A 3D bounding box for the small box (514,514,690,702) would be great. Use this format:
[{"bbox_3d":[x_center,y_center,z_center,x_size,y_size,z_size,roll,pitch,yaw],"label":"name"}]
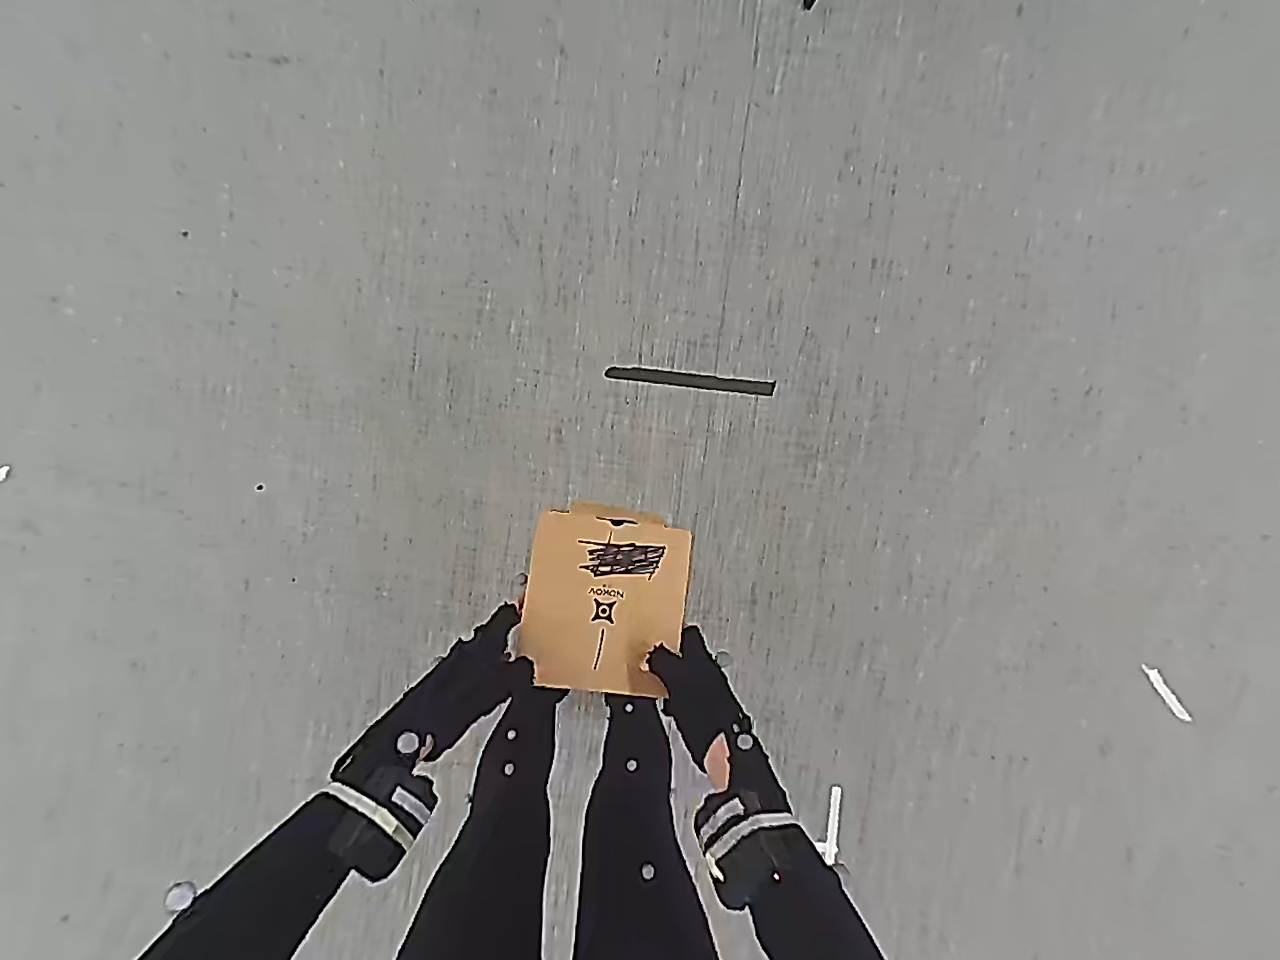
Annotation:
[{"bbox_3d":[-0.050,0.145,0.636,0.168,0.176,0.179,9,79,-8],"label":"small box"}]
